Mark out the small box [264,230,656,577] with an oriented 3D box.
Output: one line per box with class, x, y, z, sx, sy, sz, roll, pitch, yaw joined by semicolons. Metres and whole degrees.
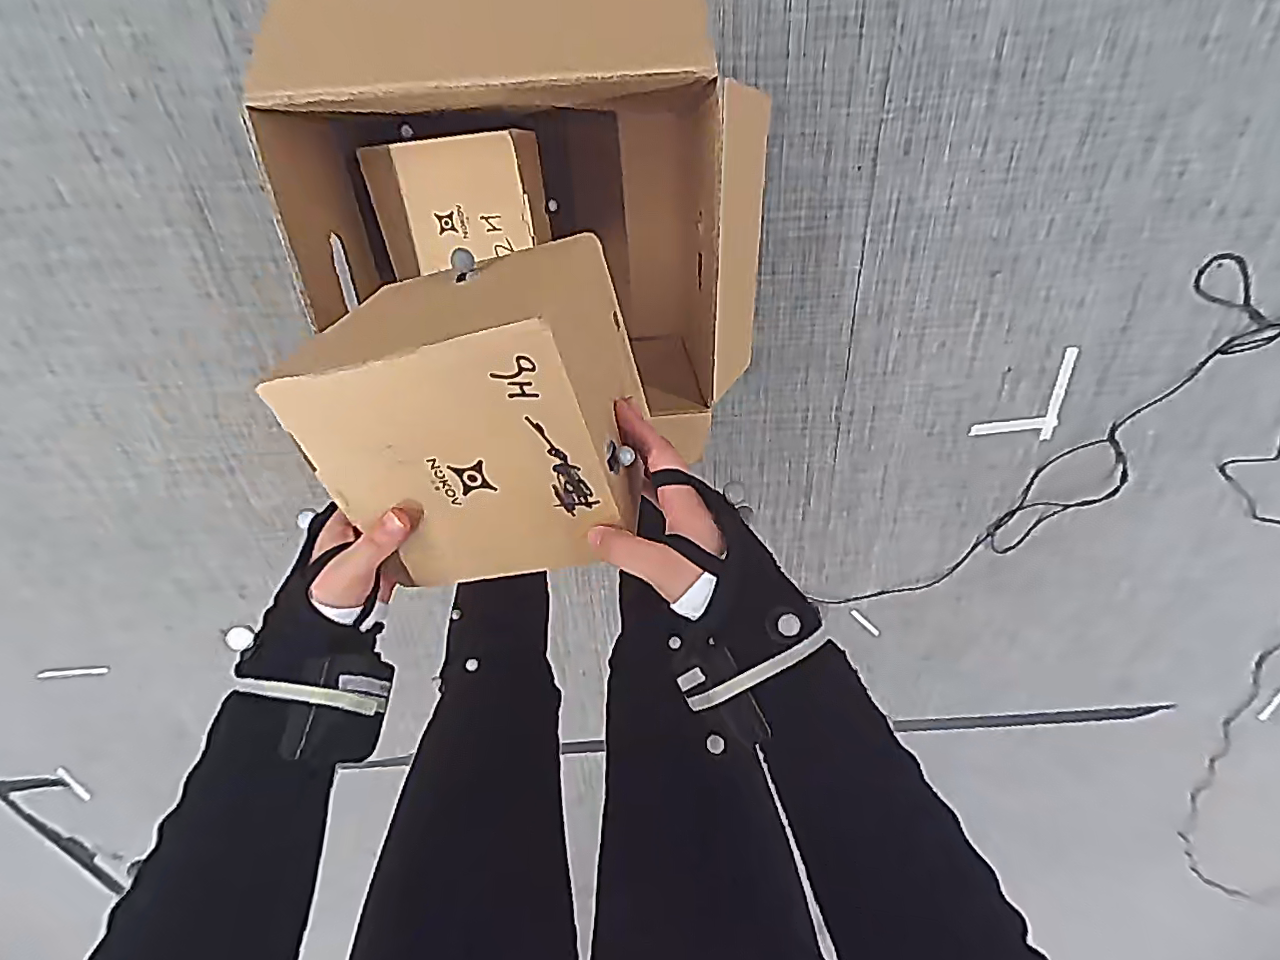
small box;-0.094;-0.056;0.379;0.179;0.176;0.168;-8;126;13
